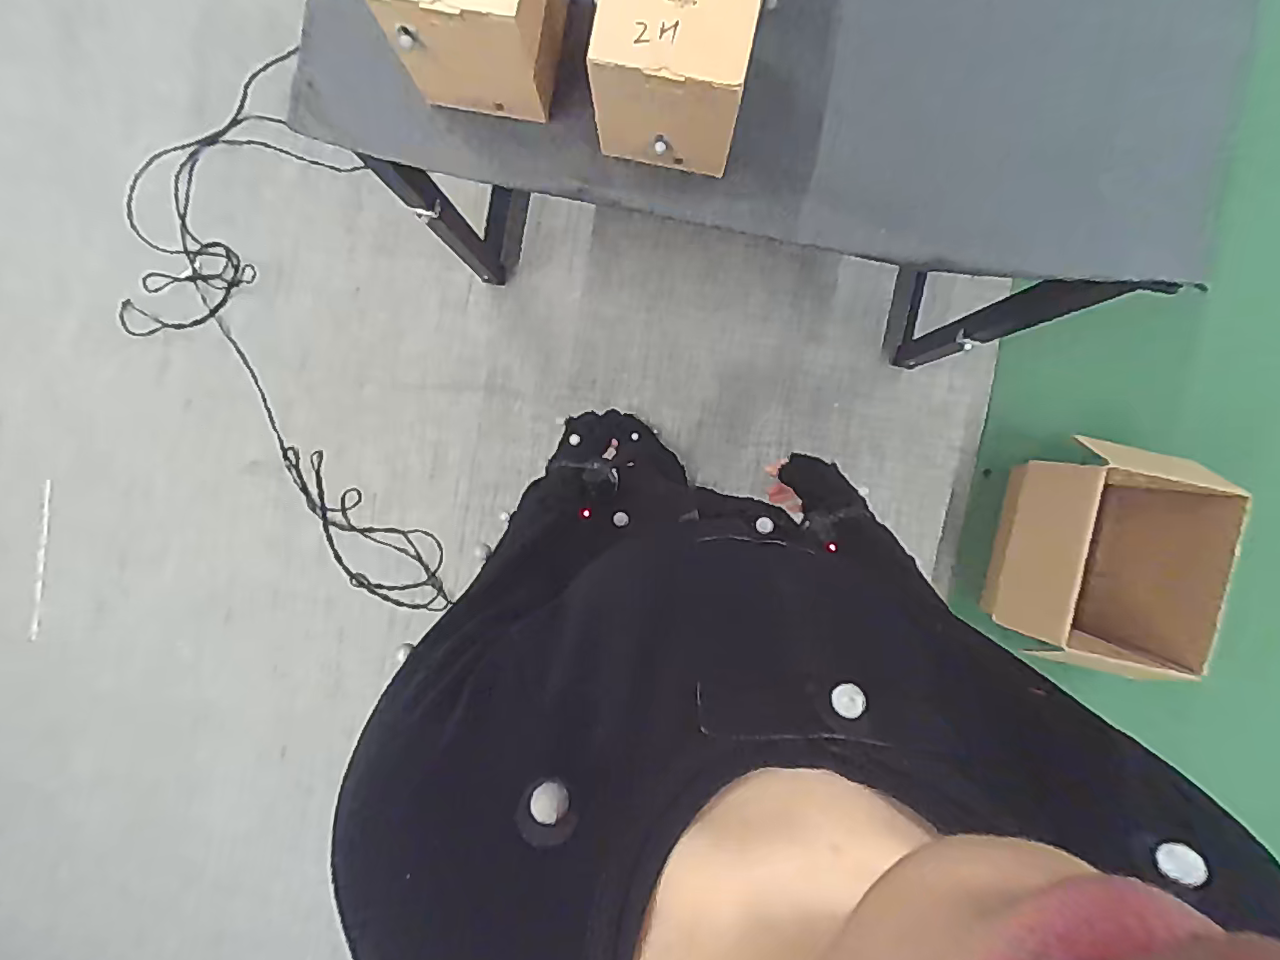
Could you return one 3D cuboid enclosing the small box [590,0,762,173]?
[{"bbox_3d":[0.045,-0.503,0.633,0.168,0.176,0.179,12,91,2],"label":"small box"}]
